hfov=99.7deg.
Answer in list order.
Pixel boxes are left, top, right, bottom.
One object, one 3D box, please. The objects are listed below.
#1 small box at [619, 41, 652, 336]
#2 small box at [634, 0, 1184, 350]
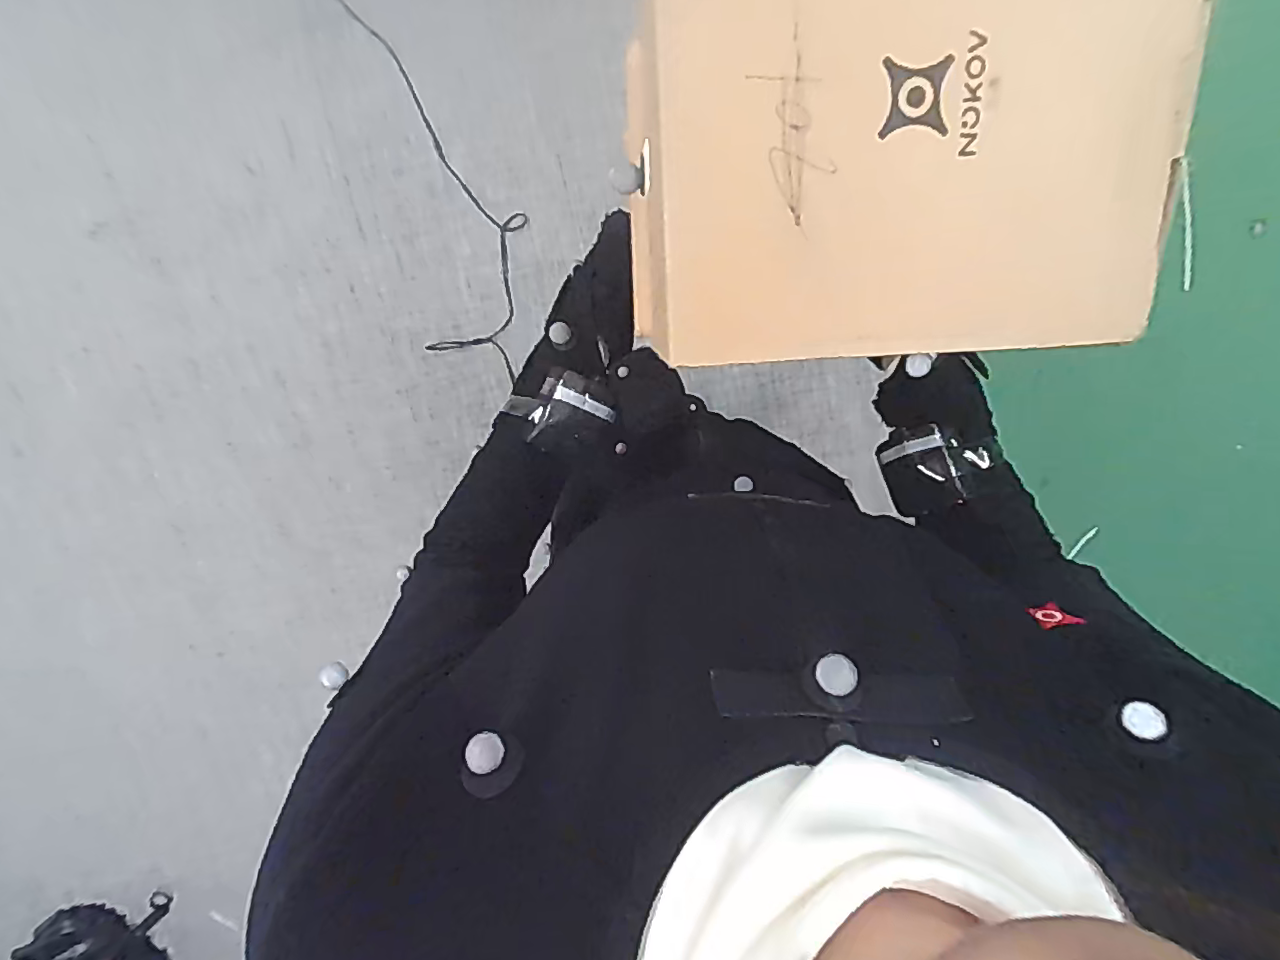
[{"bbox_3d":[0.077,-0.203,0.410,0.179,0.176,0.168,-4,106,1],"label":"small box"},{"bbox_3d":[0.088,-0.153,0.254,0.179,0.176,0.168,-3,105,1],"label":"small box"}]
